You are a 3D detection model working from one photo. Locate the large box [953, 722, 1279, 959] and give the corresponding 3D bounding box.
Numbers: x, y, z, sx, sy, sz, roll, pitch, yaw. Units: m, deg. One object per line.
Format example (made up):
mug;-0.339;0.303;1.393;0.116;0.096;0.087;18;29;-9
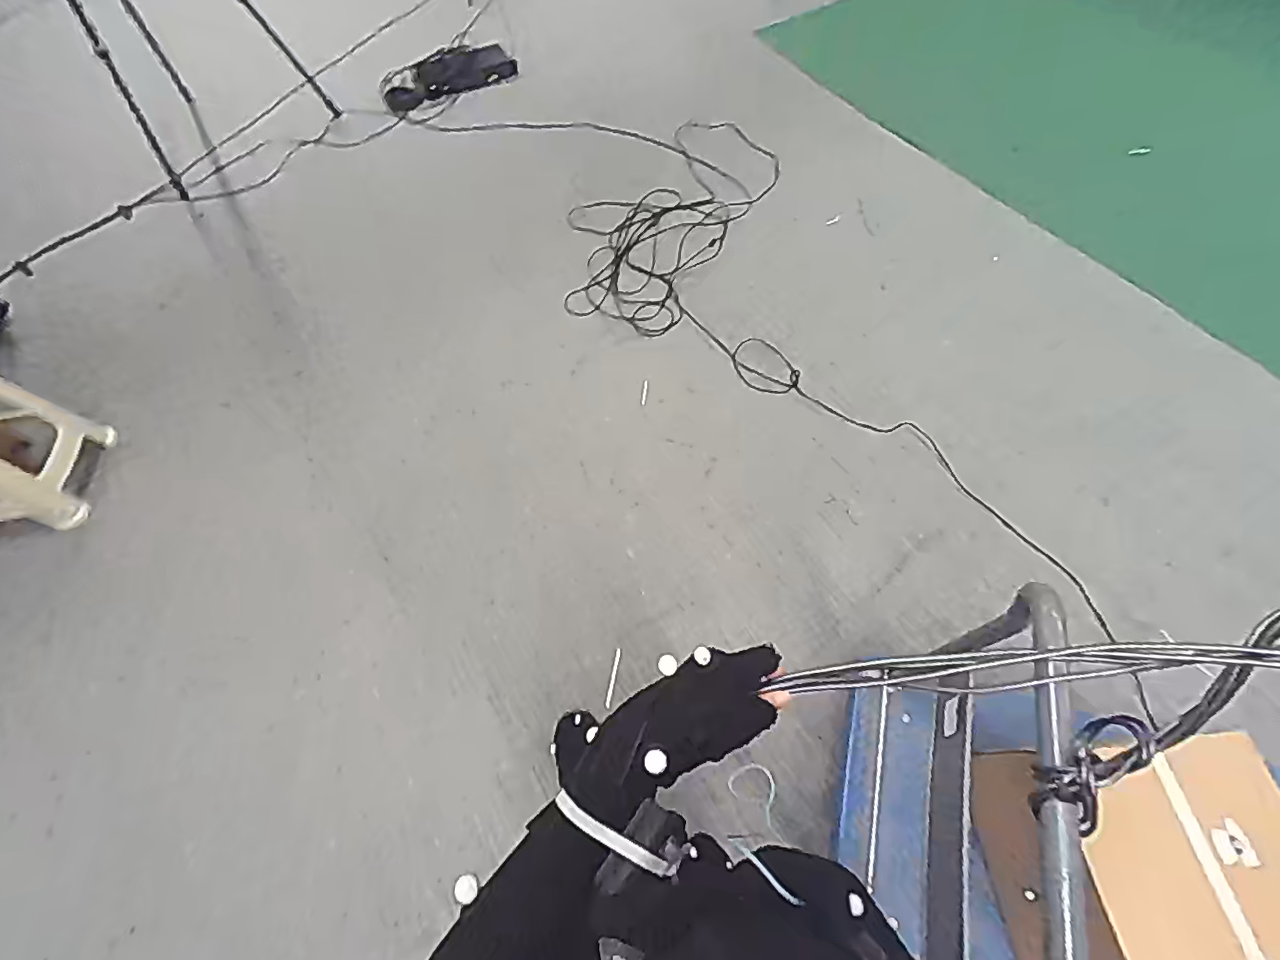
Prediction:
large box;0.793;0.639;0.876;0.320;0.320;0.408;-6;61;0
